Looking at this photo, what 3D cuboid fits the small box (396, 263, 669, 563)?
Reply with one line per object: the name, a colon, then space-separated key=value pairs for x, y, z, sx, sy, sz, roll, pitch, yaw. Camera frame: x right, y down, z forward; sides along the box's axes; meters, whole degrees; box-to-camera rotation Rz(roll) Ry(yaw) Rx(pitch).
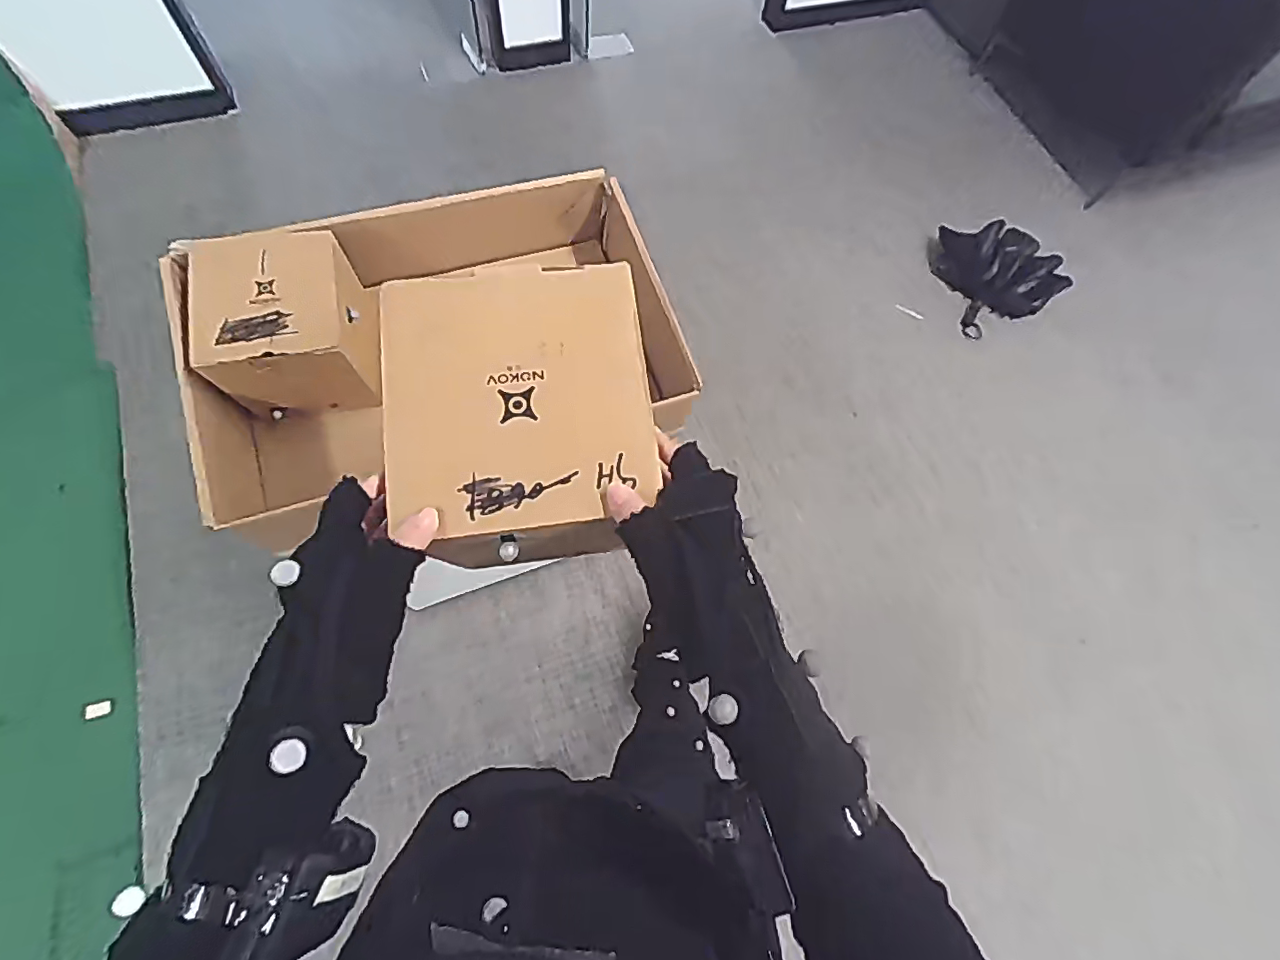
small box: x=-0.077 y=-0.039 z=0.425 sx=0.168 sy=0.176 sz=0.179 roll=-7 pitch=76 yaw=-4
